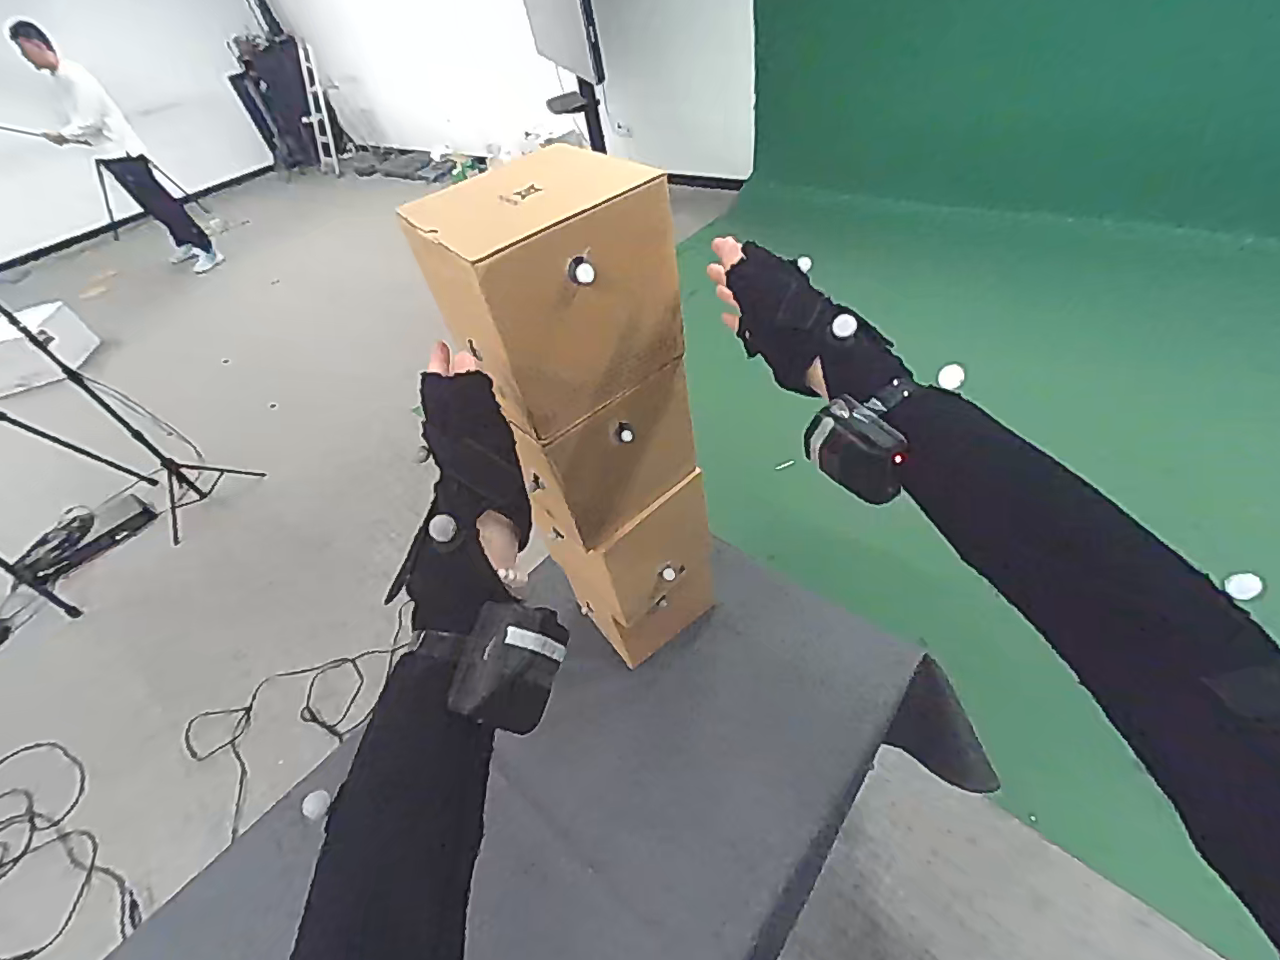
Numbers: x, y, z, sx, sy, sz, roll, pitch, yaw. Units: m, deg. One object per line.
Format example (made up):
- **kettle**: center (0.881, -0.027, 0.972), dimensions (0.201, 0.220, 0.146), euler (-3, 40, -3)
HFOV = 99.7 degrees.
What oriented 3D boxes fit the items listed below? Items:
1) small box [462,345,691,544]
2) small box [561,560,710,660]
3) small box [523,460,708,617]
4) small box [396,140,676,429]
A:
- **small box**: center (-0.060, -0.062, 0.606), dimensions (0.179, 0.176, 0.168), euler (-36, 50, -20)
- **small box**: center (-0.006, 0.148, 0.851), dimensions (0.179, 0.176, 0.168), euler (-33, 48, -18)
- **small box**: center (-0.028, 0.048, 0.721), dimensions (0.168, 0.176, 0.179), euler (-38, 51, -22)
- **small box**: center (-0.081, -0.179, 0.495), dimensions (0.179, 0.176, 0.168), euler (-35, 50, -18)
